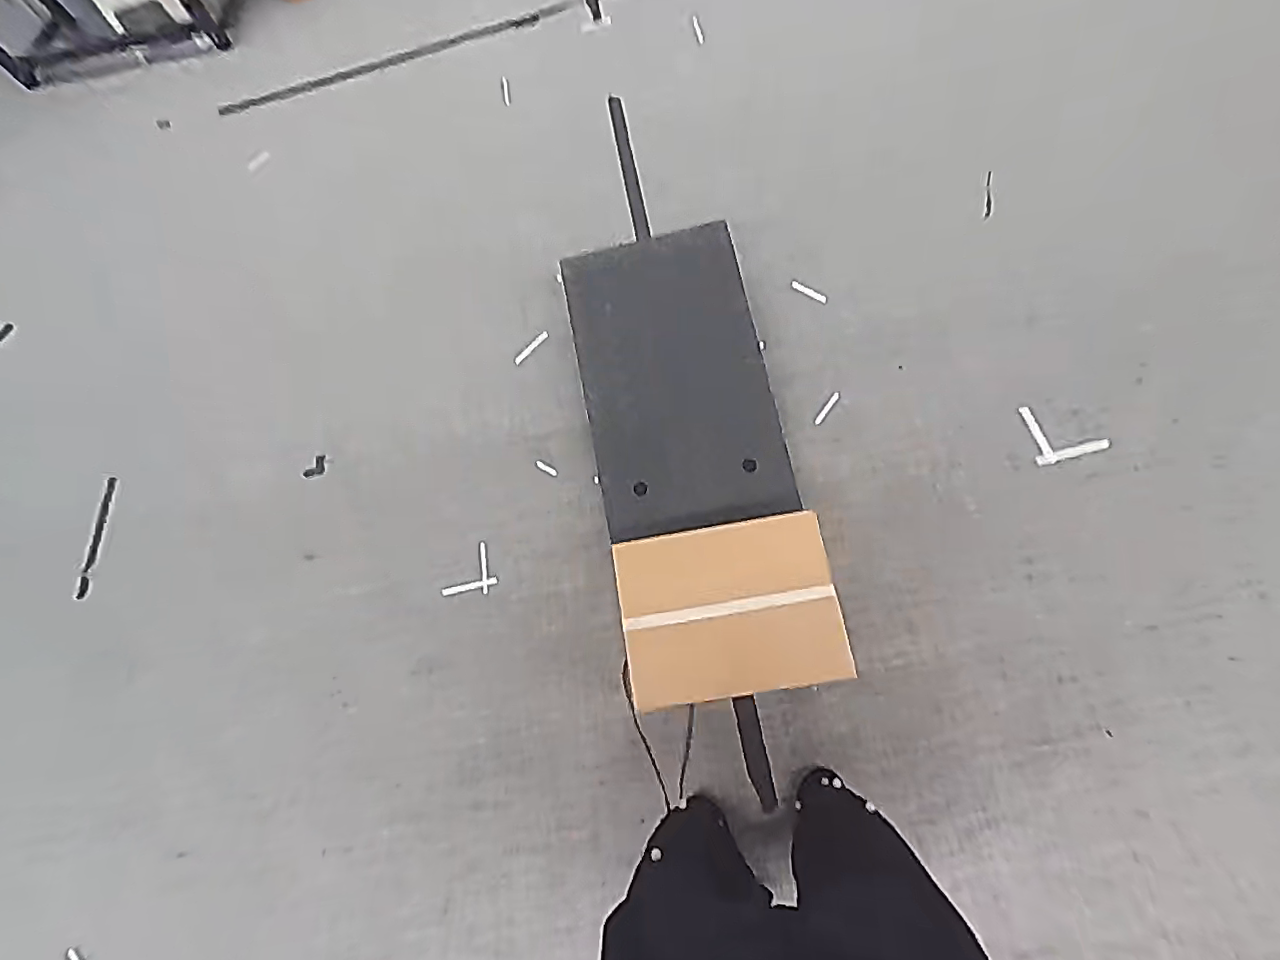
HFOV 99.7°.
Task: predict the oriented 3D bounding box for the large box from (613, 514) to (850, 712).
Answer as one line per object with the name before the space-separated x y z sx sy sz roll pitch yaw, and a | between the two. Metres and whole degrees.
large box | 0.181 0.288 1.168 0.408 0.320 0.320 -10 71 4

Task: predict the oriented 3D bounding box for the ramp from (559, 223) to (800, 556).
ramp | 0.098 -0.205 1.451 0.509 0.206 0.991 -13 67 2
